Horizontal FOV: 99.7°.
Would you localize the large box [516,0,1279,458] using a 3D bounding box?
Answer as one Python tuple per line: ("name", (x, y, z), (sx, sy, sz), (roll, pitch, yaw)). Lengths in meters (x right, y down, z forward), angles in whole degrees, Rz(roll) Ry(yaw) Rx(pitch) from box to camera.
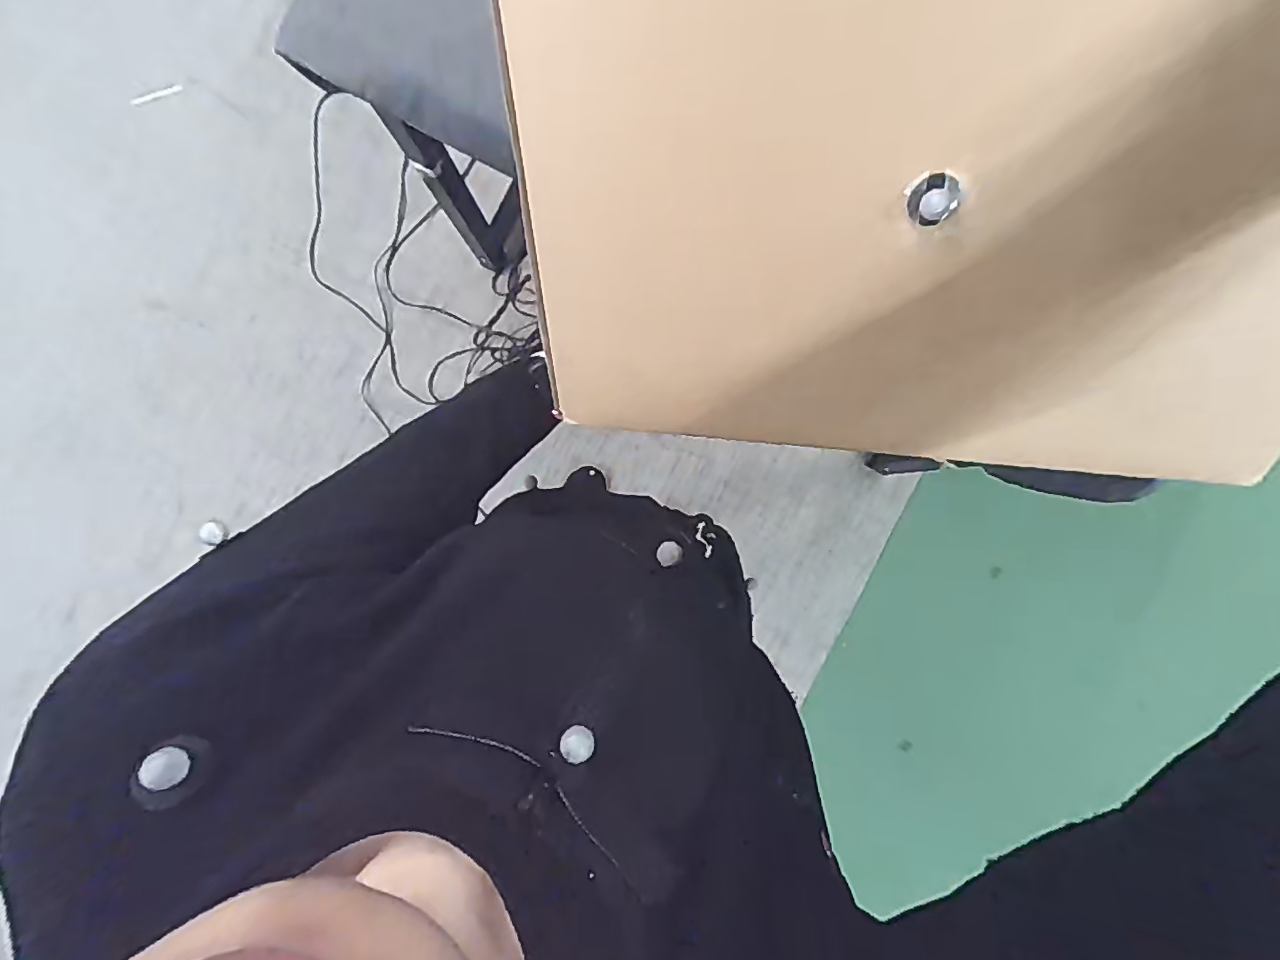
("large box", (0.172, -0.233, 0.371), (0.408, 0.320, 0.320), (5, 127, 12))
